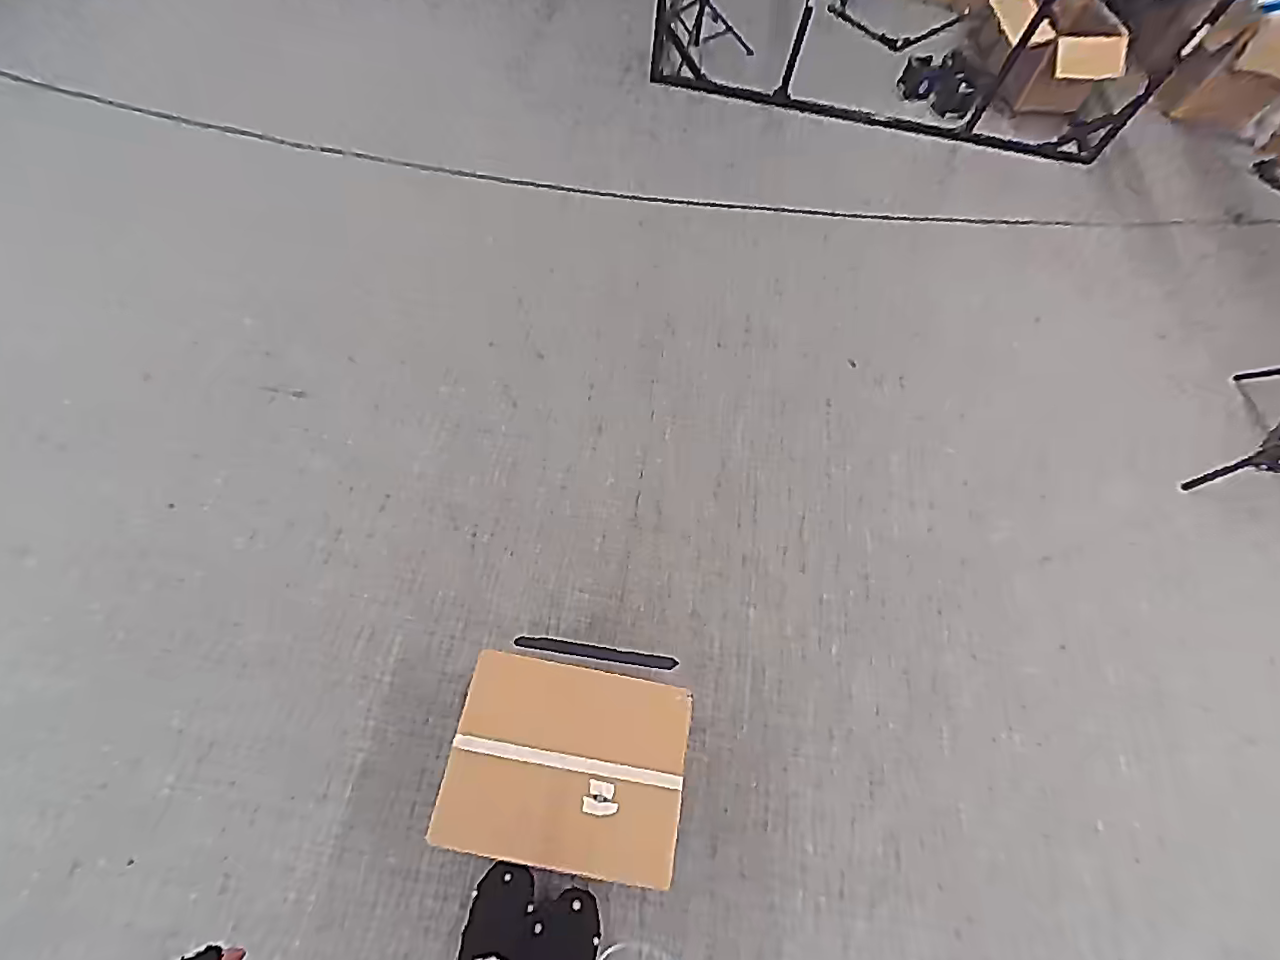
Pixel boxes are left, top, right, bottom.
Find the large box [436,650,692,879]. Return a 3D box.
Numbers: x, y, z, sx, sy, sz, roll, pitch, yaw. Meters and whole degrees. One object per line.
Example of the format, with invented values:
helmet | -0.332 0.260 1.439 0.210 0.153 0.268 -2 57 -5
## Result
large box | -0.135 0.554 1.085 0.408 0.320 0.320 12 64 -1
